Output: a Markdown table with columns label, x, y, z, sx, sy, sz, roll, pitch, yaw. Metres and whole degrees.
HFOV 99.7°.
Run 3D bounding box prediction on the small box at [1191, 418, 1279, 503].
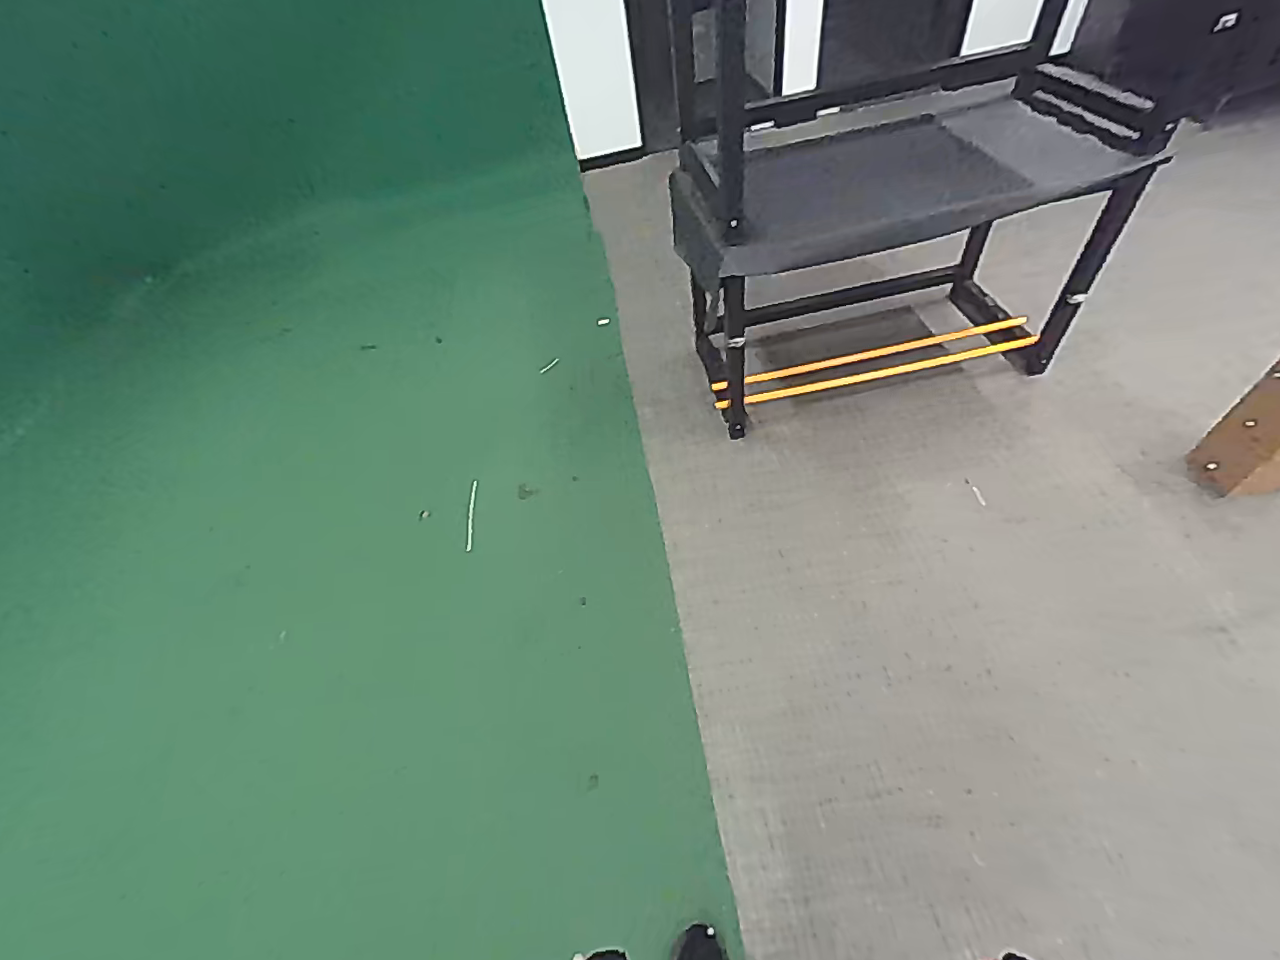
| label | x | y | z | sx | sy | sz | roll | pitch | yaw |
| --- | --- | --- | --- | --- | --- | --- | --- | --- | --- |
| small box | 1.762 | -0.054 | 1.543 | 0.179 | 0.176 | 0.168 | -8 | 49 | 5 |
